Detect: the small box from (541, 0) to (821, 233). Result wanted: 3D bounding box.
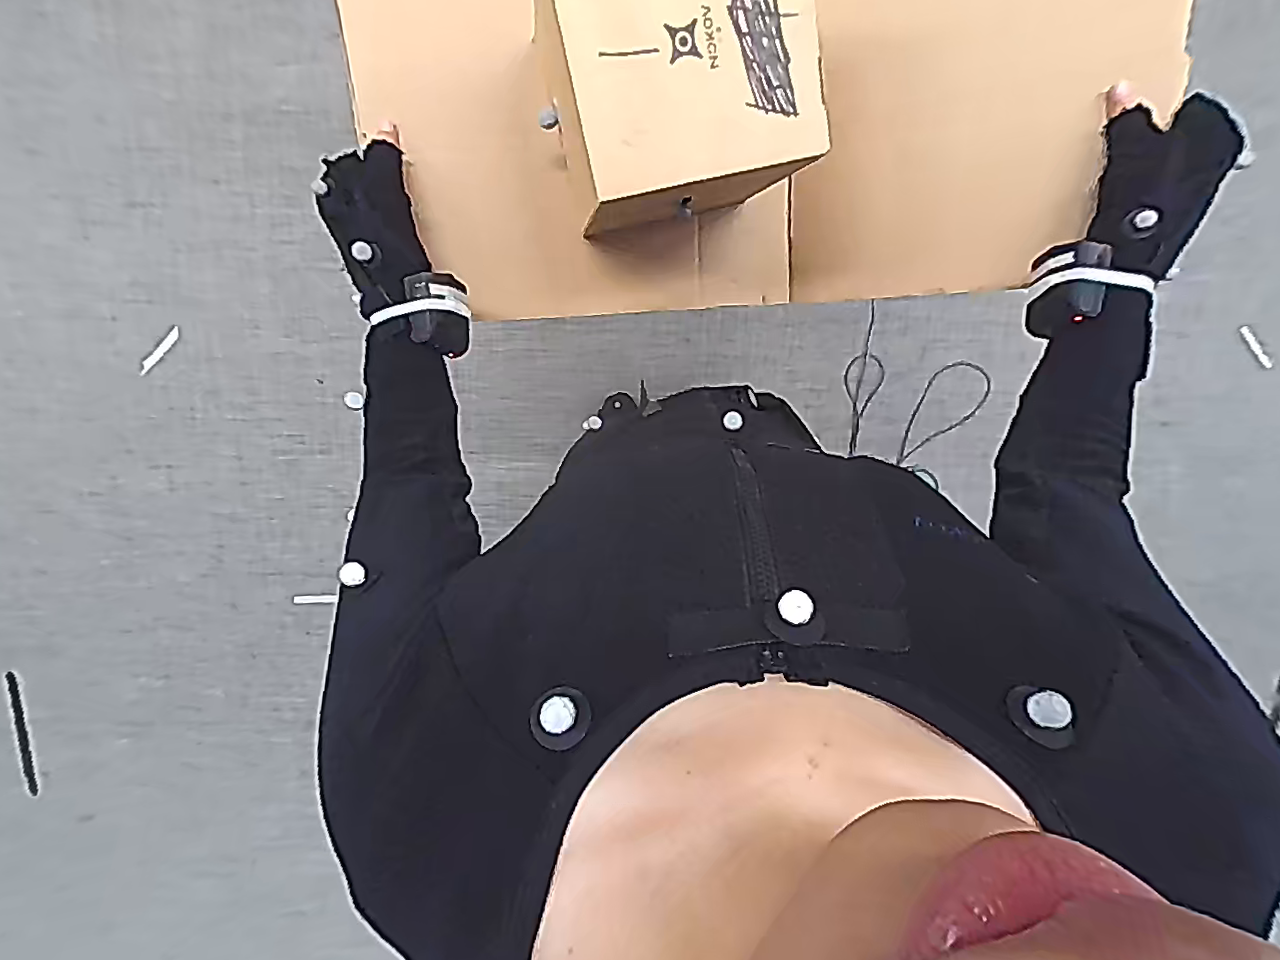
[{"bbox_3d":[0.022,-0.315,0.443,0.179,0.176,0.168,-15,108,-5],"label":"small box"}]
